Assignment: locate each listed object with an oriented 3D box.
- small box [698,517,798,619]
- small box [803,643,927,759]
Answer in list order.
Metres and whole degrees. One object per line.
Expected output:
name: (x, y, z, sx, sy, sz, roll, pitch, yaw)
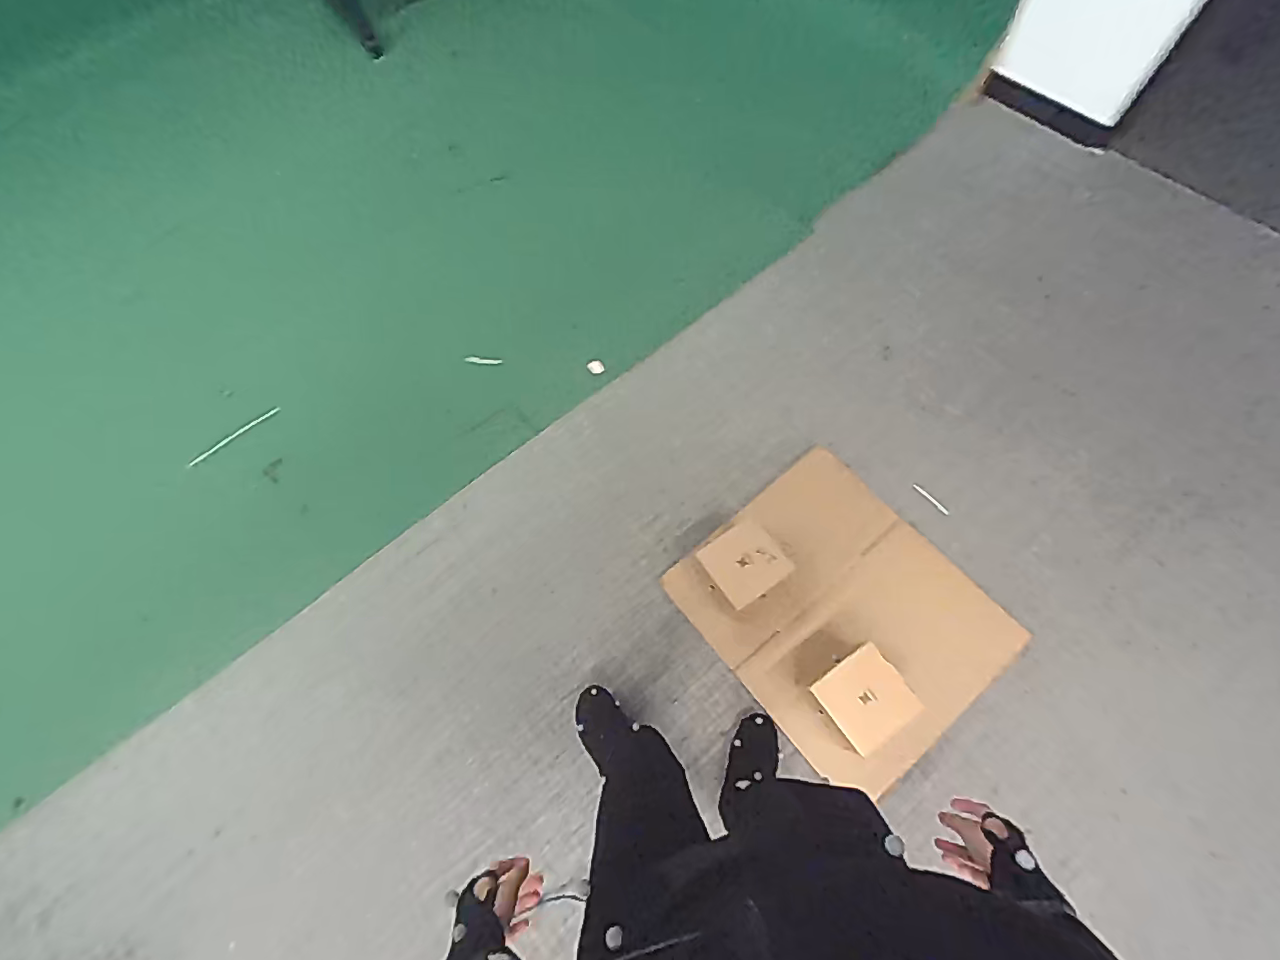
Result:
small box: (0.259, 0.223, 1.329, 0.179, 0.176, 0.168, -33, 69, -8)
small box: (0.484, 0.488, 1.200, 0.179, 0.176, 0.168, -34, 70, -9)
